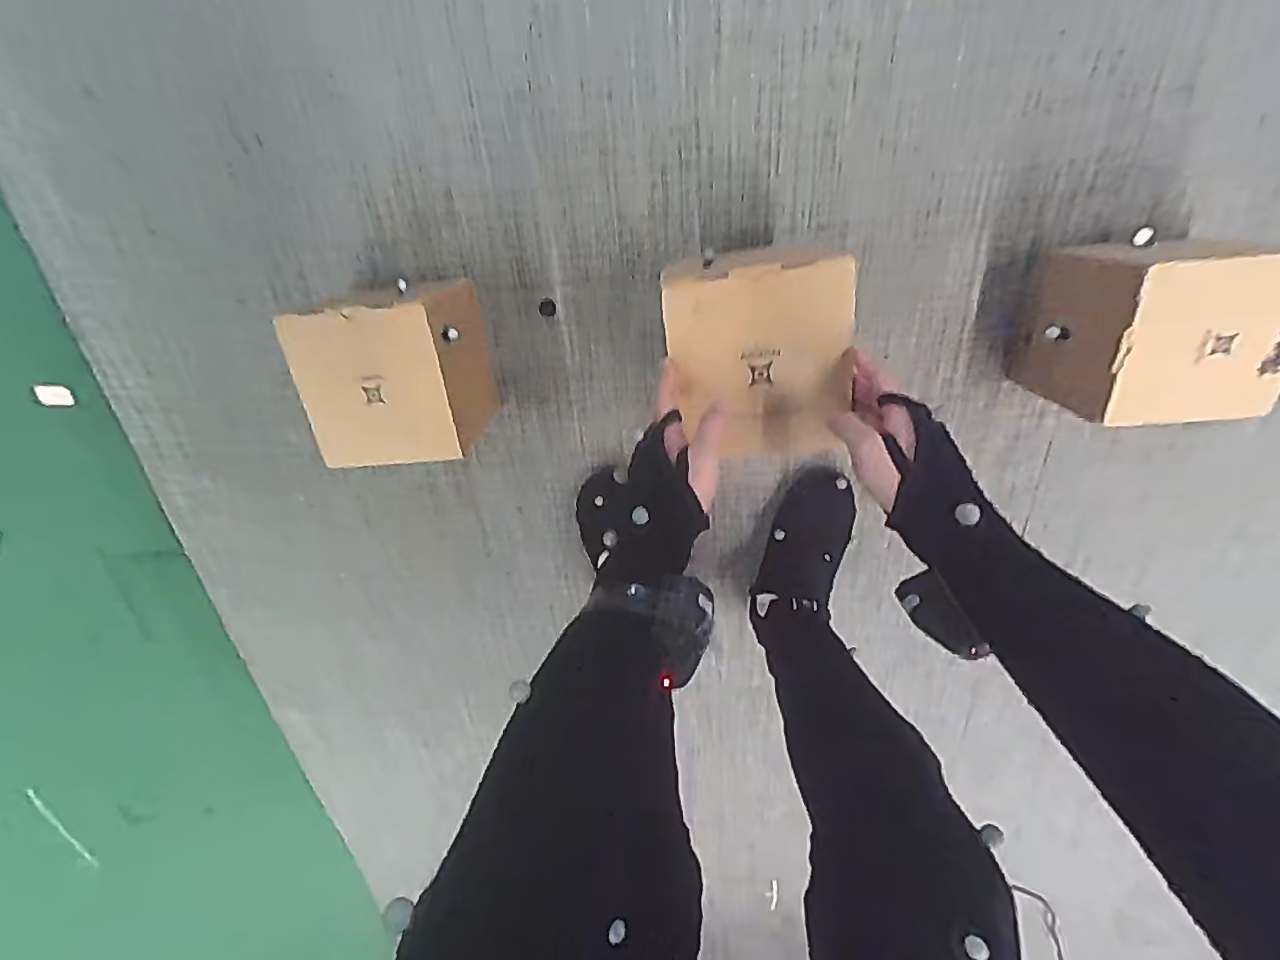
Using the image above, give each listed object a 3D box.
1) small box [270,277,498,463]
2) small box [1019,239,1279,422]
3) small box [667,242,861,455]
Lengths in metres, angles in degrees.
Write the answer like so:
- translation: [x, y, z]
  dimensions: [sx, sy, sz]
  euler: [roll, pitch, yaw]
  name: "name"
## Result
- translation: [-0.281, -0.136, 0.644]
  dimensions: [0.168, 0.176, 0.179]
  euler: [-4, 115, 4]
  name: "small box"
- translation: [0.568, -0.171, 0.599]
  dimensions: [0.179, 0.176, 0.168]
  euler: [-2, 116, 4]
  name: "small box"
- translation: [0.117, -0.144, 0.560]
  dimensions: [0.168, 0.176, 0.179]
  euler: [-5, 117, 7]
  name: "small box"
